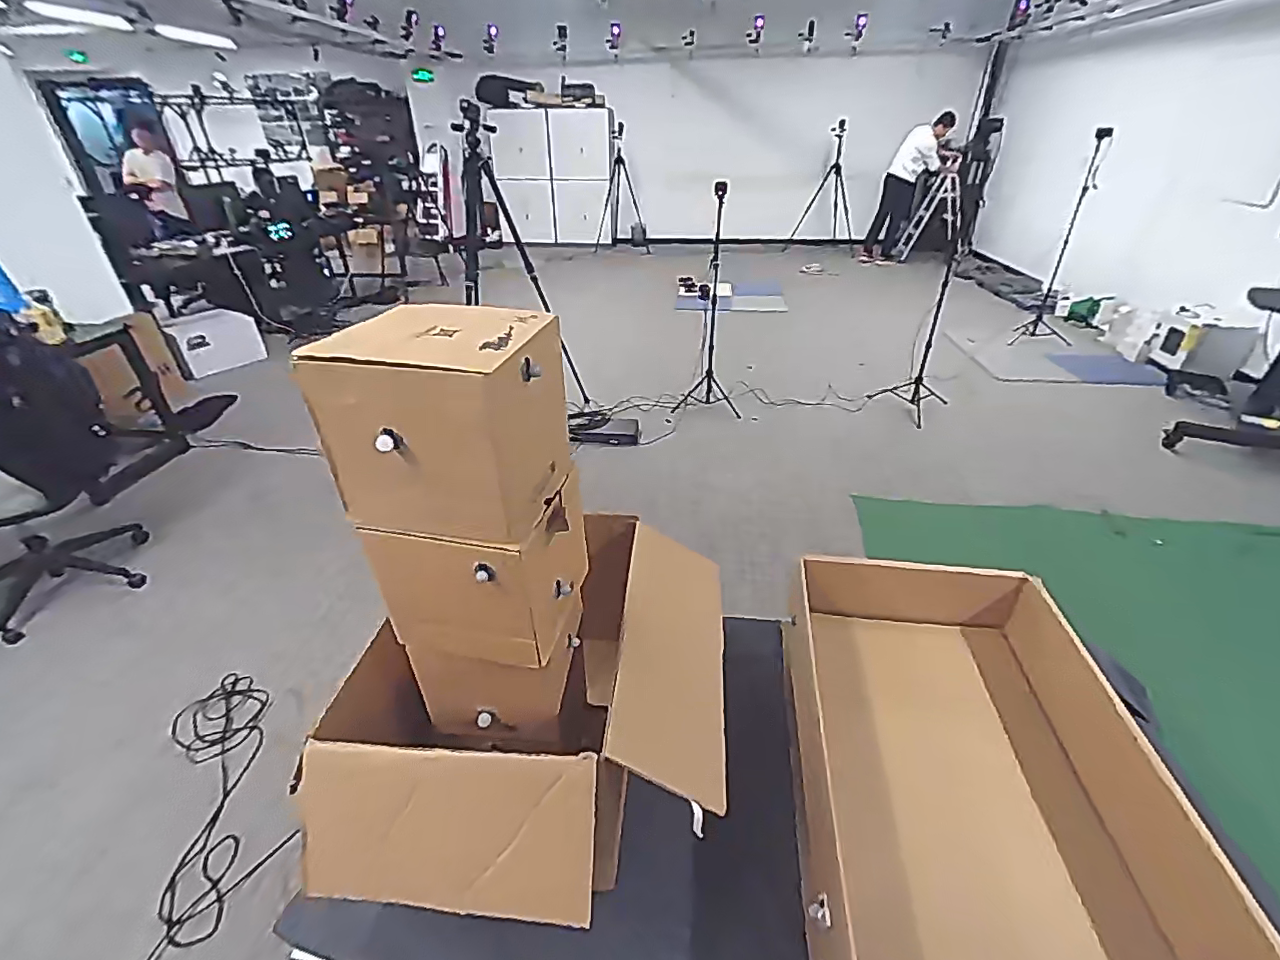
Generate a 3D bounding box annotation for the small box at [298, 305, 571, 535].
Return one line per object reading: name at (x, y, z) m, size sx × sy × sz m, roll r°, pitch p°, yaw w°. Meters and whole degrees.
small box at (-0.177, -0.063, 0.529) m, size 0.179 × 0.176 × 0.168 m, roll 6°, pitch 34°, yaw 9°

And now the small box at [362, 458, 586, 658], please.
small box at (-0.169, 0.077, 0.614) m, size 0.179 × 0.176 × 0.168 m, roll 7°, pitch 34°, yaw 10°
